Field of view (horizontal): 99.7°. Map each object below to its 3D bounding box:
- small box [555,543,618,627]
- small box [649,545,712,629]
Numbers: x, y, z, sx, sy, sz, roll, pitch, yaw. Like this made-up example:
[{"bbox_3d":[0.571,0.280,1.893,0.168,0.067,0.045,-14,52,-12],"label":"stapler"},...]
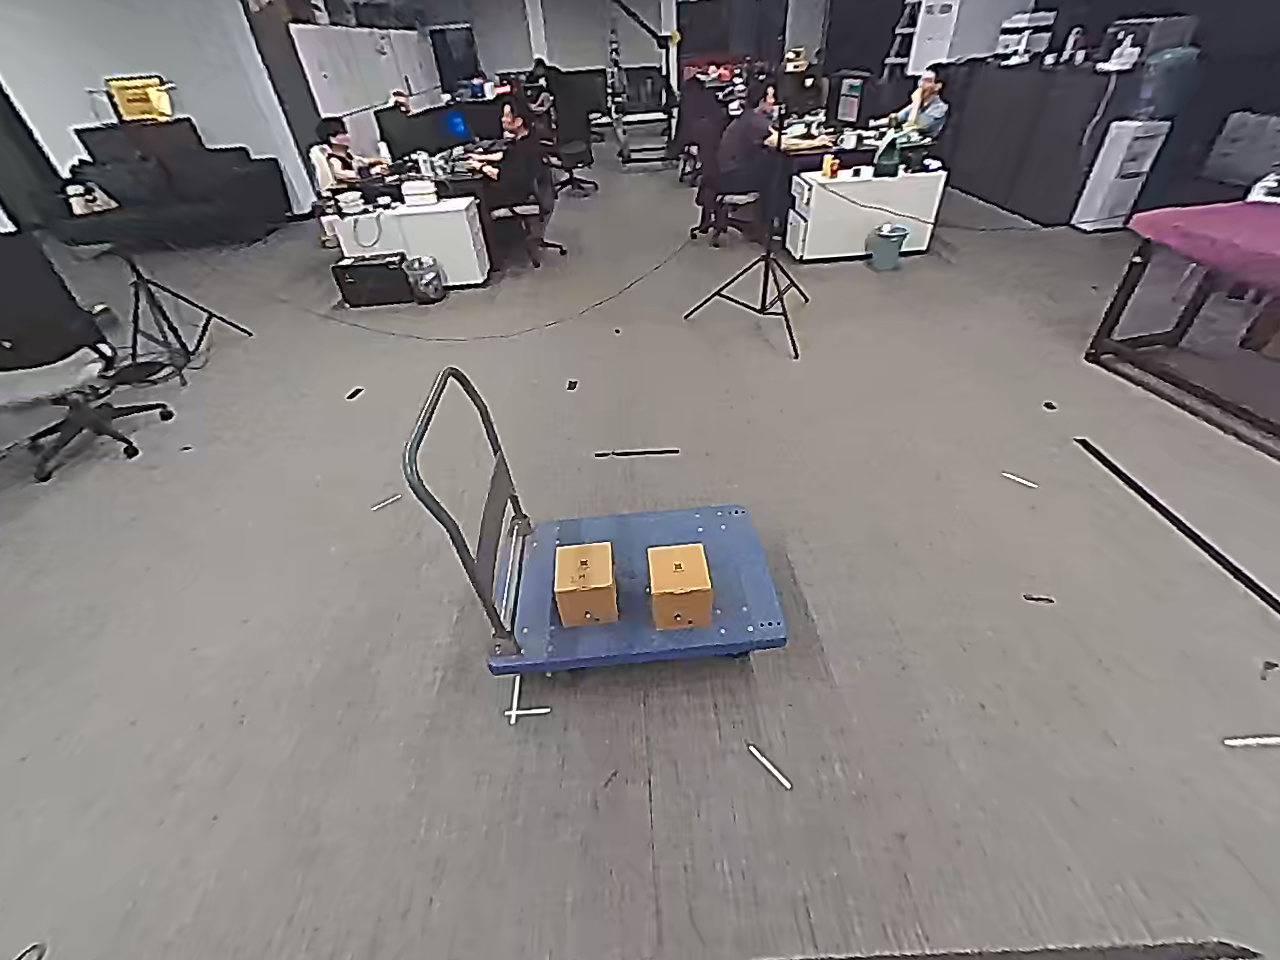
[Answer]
[{"bbox_3d":[-0.158,0.313,1.617,0.168,0.176,0.179,-6,39,-1],"label":"small box"},{"bbox_3d":[0.115,0.314,1.591,0.168,0.176,0.179,-5,39,-1],"label":"small box"}]
